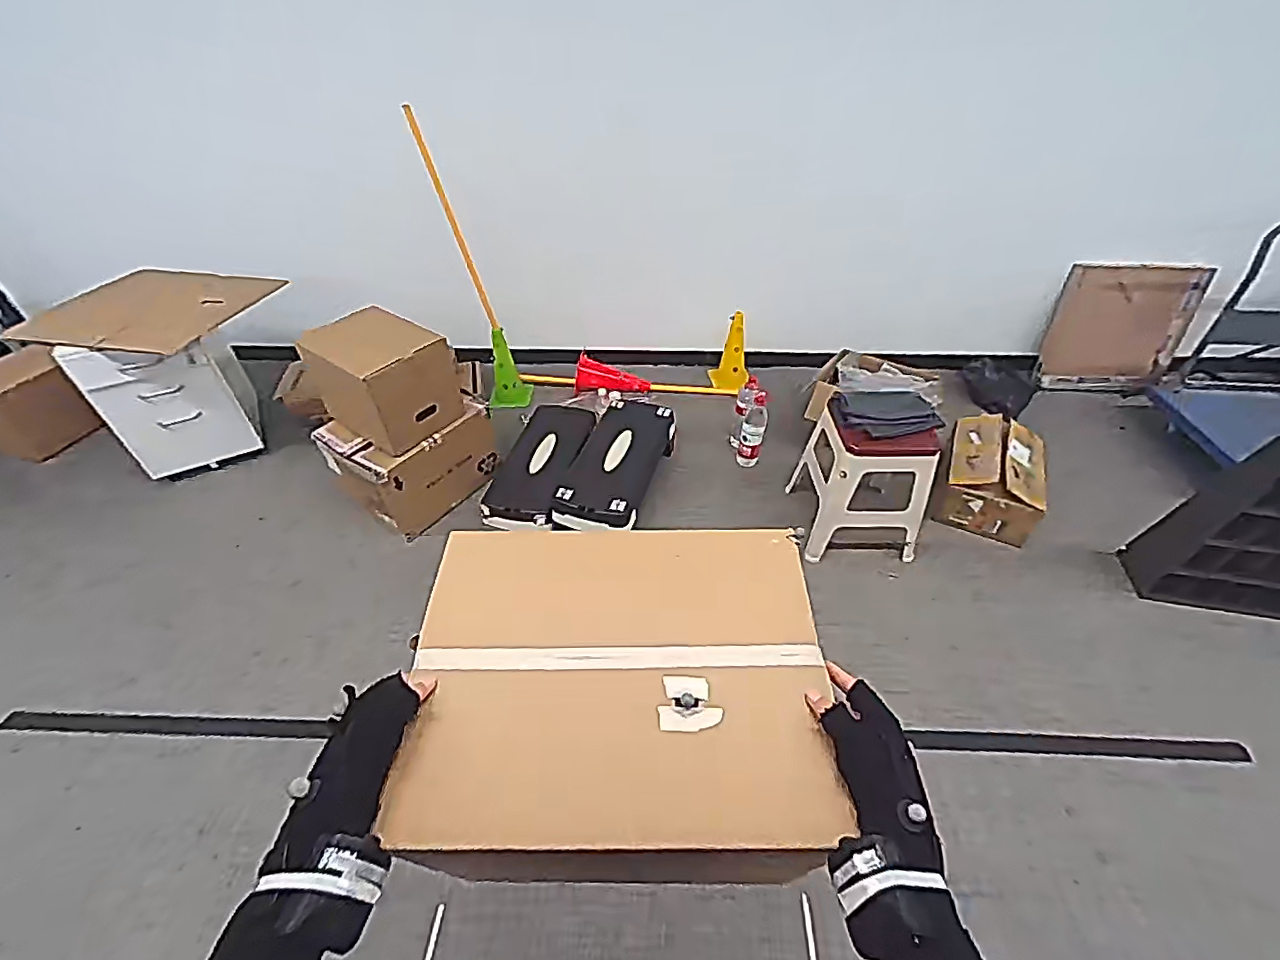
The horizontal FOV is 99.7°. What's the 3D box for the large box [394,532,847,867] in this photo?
[{"bbox_3d":[-0.019,0.278,0.674,0.408,0.320,0.320,0,51,0],"label":"large box"}]
